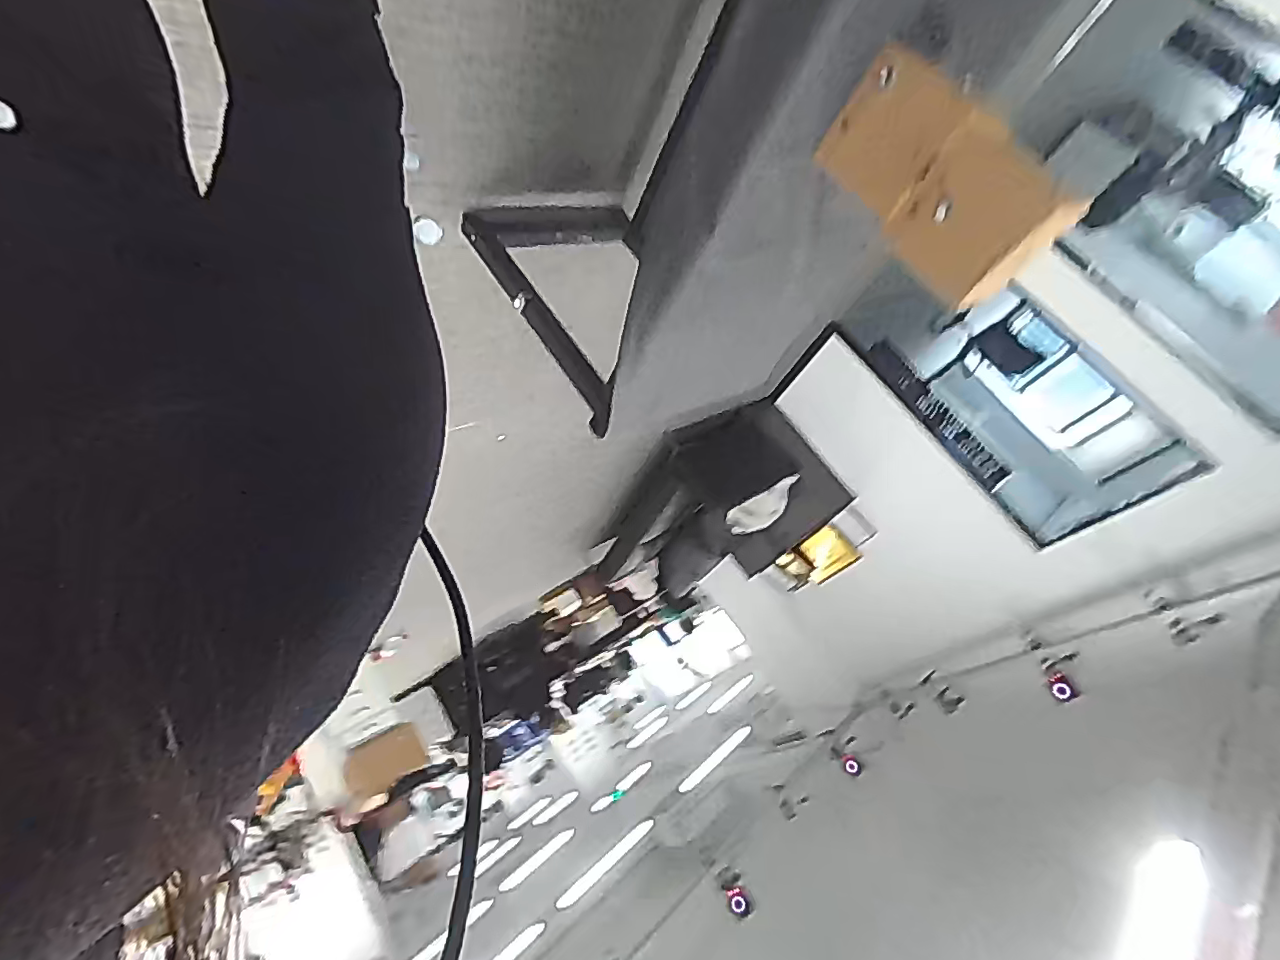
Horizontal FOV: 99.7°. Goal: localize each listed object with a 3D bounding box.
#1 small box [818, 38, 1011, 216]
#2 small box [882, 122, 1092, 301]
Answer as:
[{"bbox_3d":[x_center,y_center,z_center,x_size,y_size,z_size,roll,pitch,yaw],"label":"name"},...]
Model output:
[{"bbox_3d":[0.409,-0.528,0.825,0.179,0.176,0.168,-24,160,-40],"label":"small box"},{"bbox_3d":[0.502,-0.394,0.797,0.179,0.176,0.168,-24,160,-36],"label":"small box"}]
